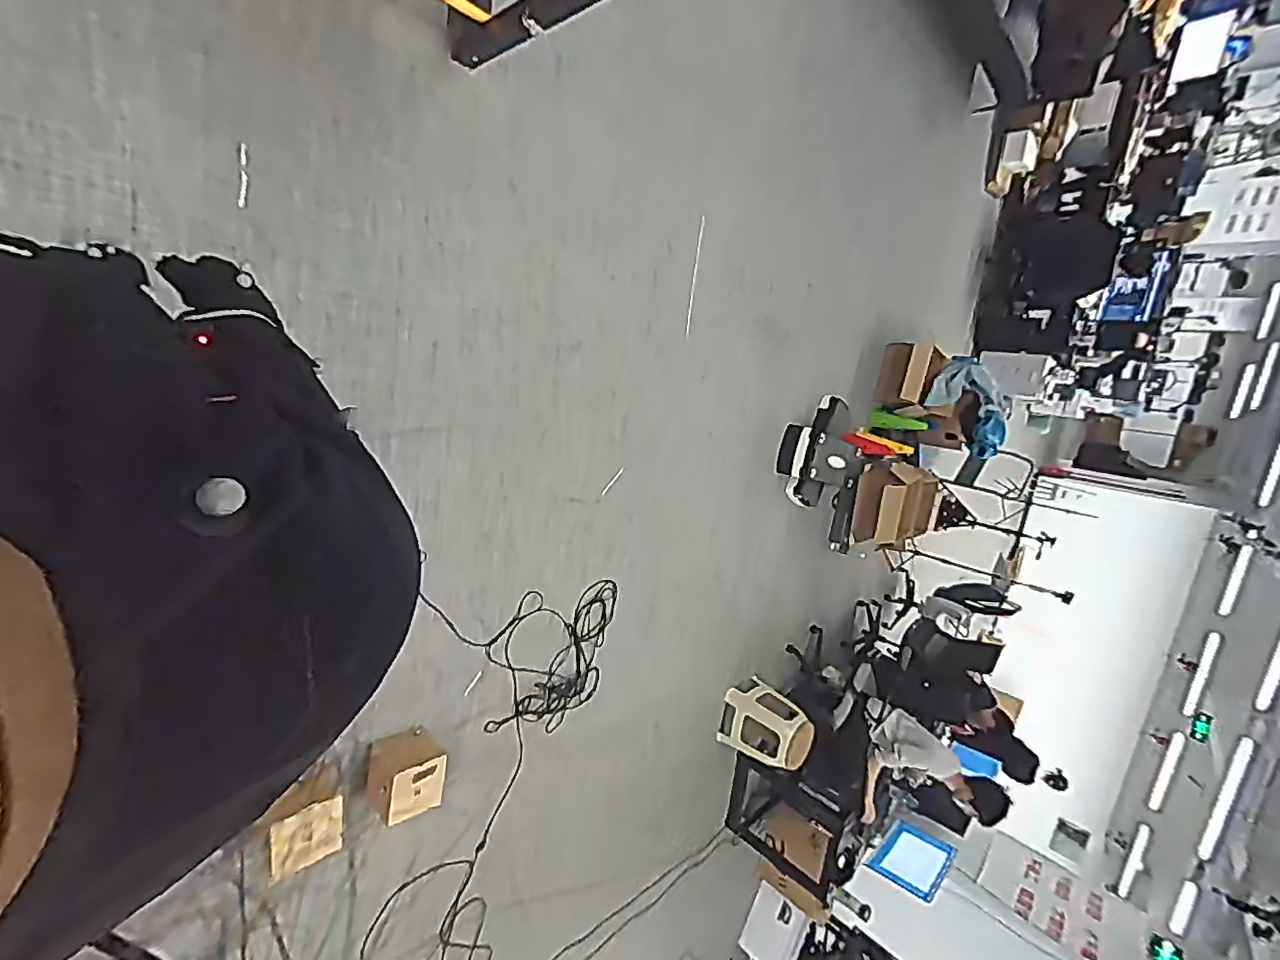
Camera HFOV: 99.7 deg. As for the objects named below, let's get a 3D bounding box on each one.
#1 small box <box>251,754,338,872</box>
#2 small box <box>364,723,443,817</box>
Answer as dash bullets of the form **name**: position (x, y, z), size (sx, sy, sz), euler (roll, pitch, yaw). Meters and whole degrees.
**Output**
- **small box**: position (-0.933, 0.886, 1.459), size (0.168, 0.176, 0.179), euler (-7, 107, -47)
- **small box**: position (-0.736, 0.883, 1.673), size (0.168, 0.176, 0.179), euler (1, 104, -48)
